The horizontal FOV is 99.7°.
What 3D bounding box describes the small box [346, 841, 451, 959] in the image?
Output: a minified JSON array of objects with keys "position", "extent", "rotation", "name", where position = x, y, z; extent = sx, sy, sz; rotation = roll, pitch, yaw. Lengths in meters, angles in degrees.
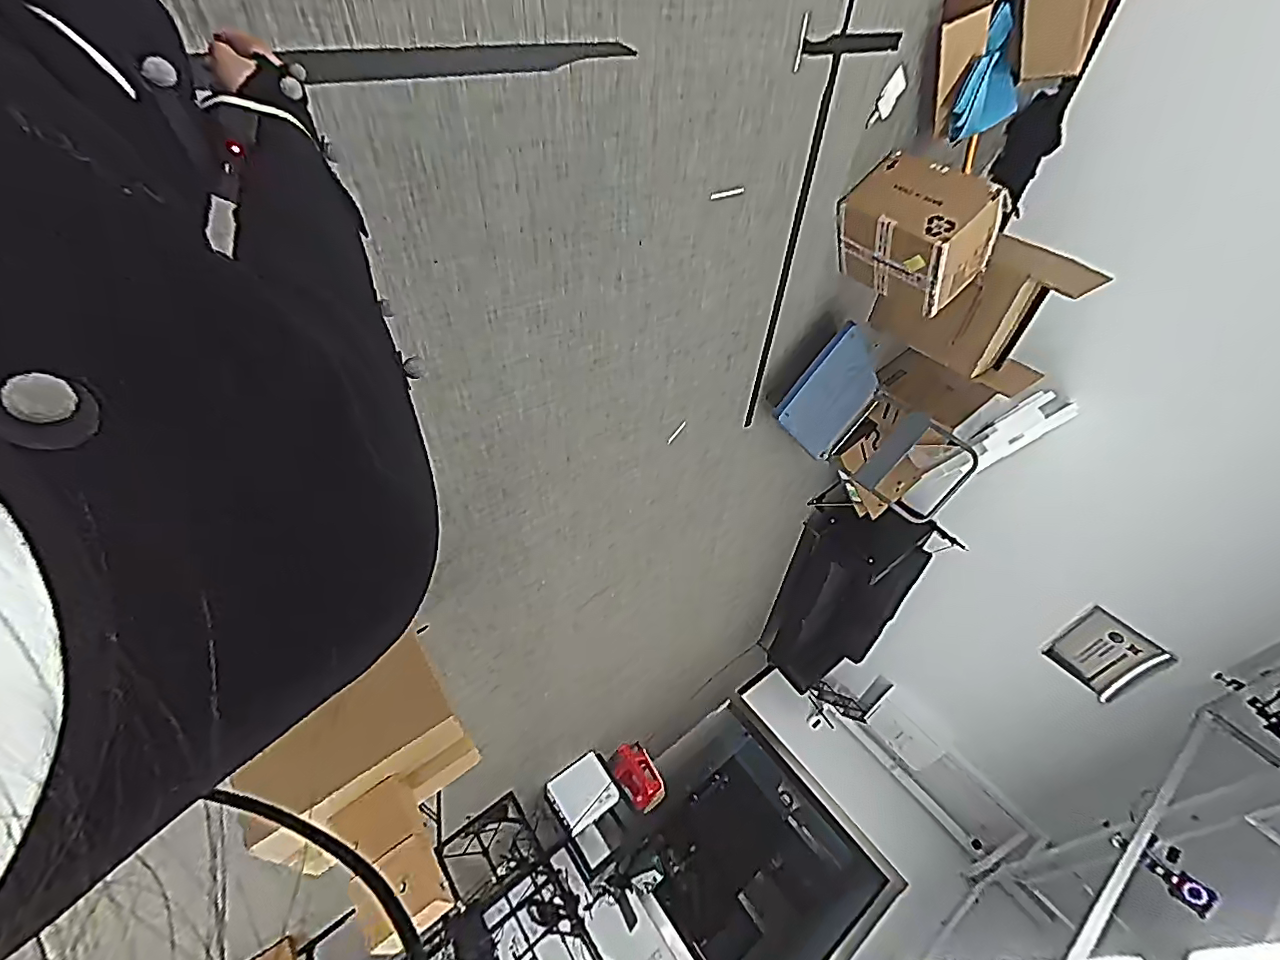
[{"position":[-0.606,1.048,1.358],"extent":[0.168,0.176,0.179],"rotation":[-30,145,-24],"name":"small box"}]
